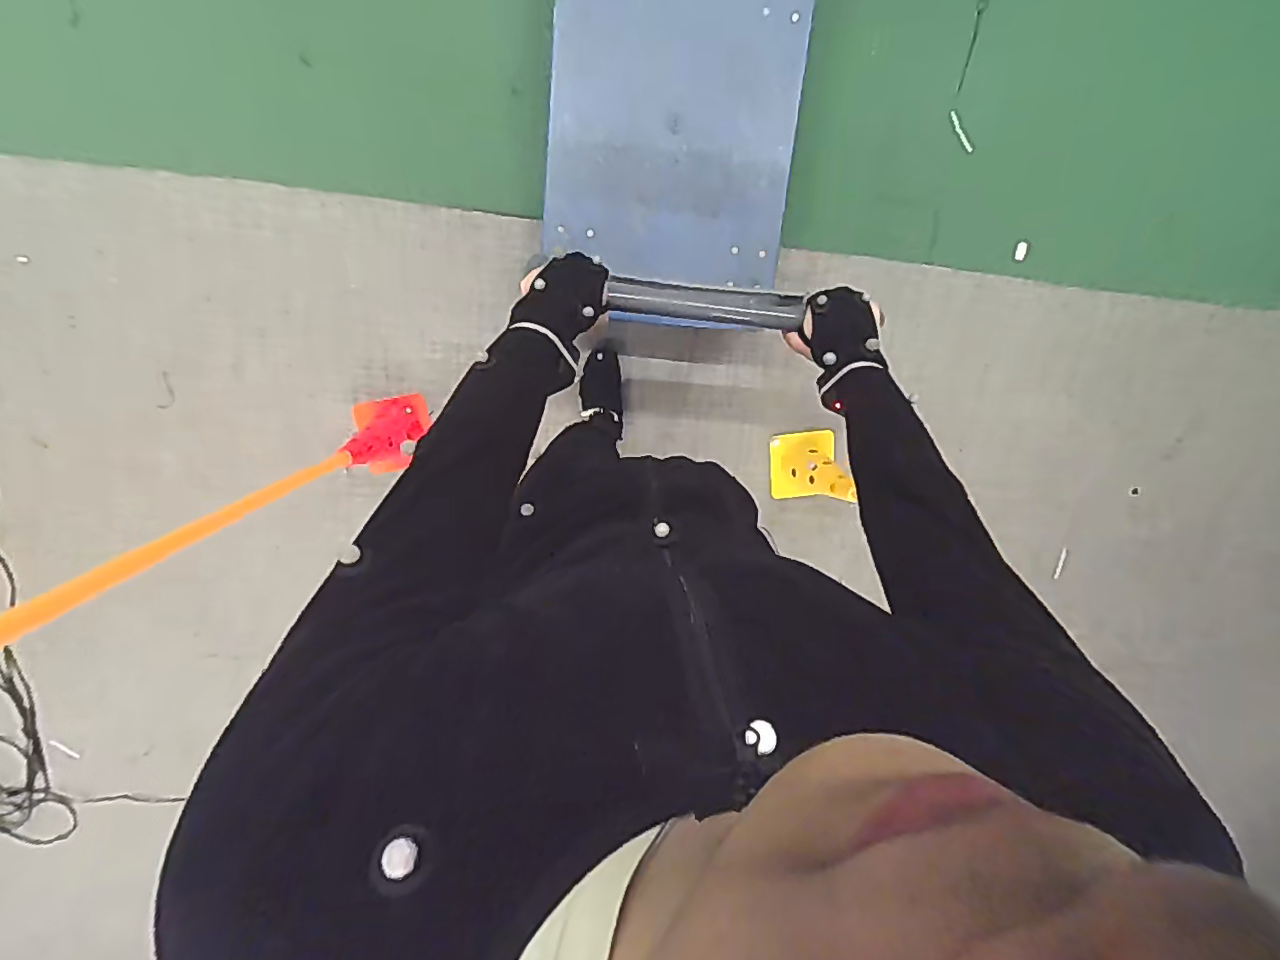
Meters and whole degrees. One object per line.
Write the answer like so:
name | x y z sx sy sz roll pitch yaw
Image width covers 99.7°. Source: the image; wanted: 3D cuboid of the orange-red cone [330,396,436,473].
orange-red cone | -0.666 -0.085 1.335 0.199 0.360 0.198 -10 104 -2
